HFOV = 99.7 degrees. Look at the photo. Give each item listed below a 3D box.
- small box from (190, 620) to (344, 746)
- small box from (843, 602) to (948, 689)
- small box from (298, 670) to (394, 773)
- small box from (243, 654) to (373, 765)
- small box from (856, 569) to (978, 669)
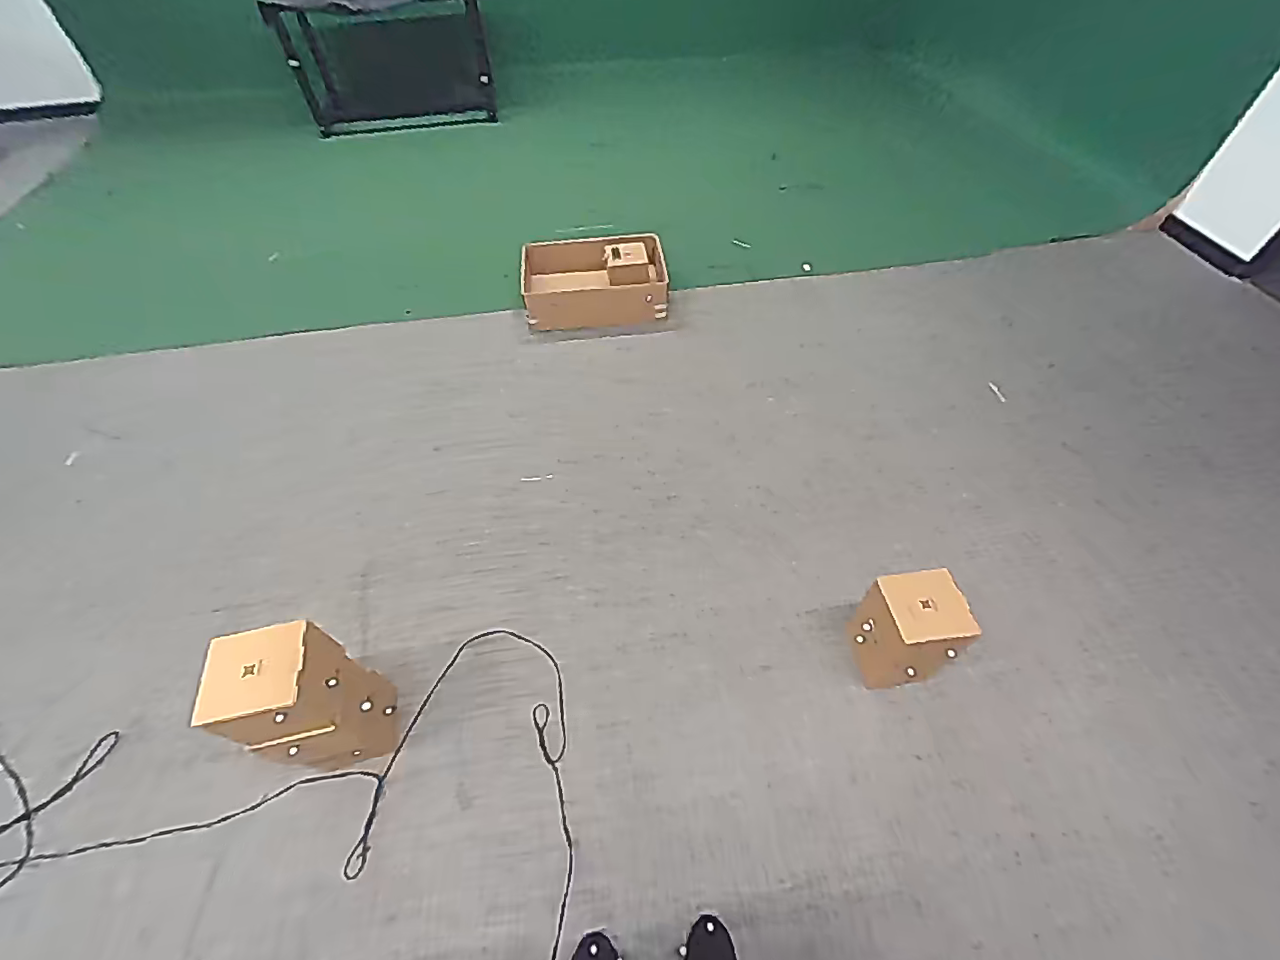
[{"bbox_3d":[-0.715,0.401,1.058,0.179,0.176,0.168,-11,53,-8],"label":"small box"},{"bbox_3d":[0.653,0.423,1.409,0.168,0.176,0.179,-7,52,-4],"label":"small box"},{"bbox_3d":[-0.716,0.592,1.323,0.179,0.176,0.168,-15,53,-8],"label":"small box"},{"bbox_3d":[-0.713,0.506,1.183,0.179,0.176,0.168,-11,53,-7],"label":"small box"},{"bbox_3d":[0.640,0.330,1.276,0.179,0.176,0.168,-8,51,-3],"label":"small box"}]
